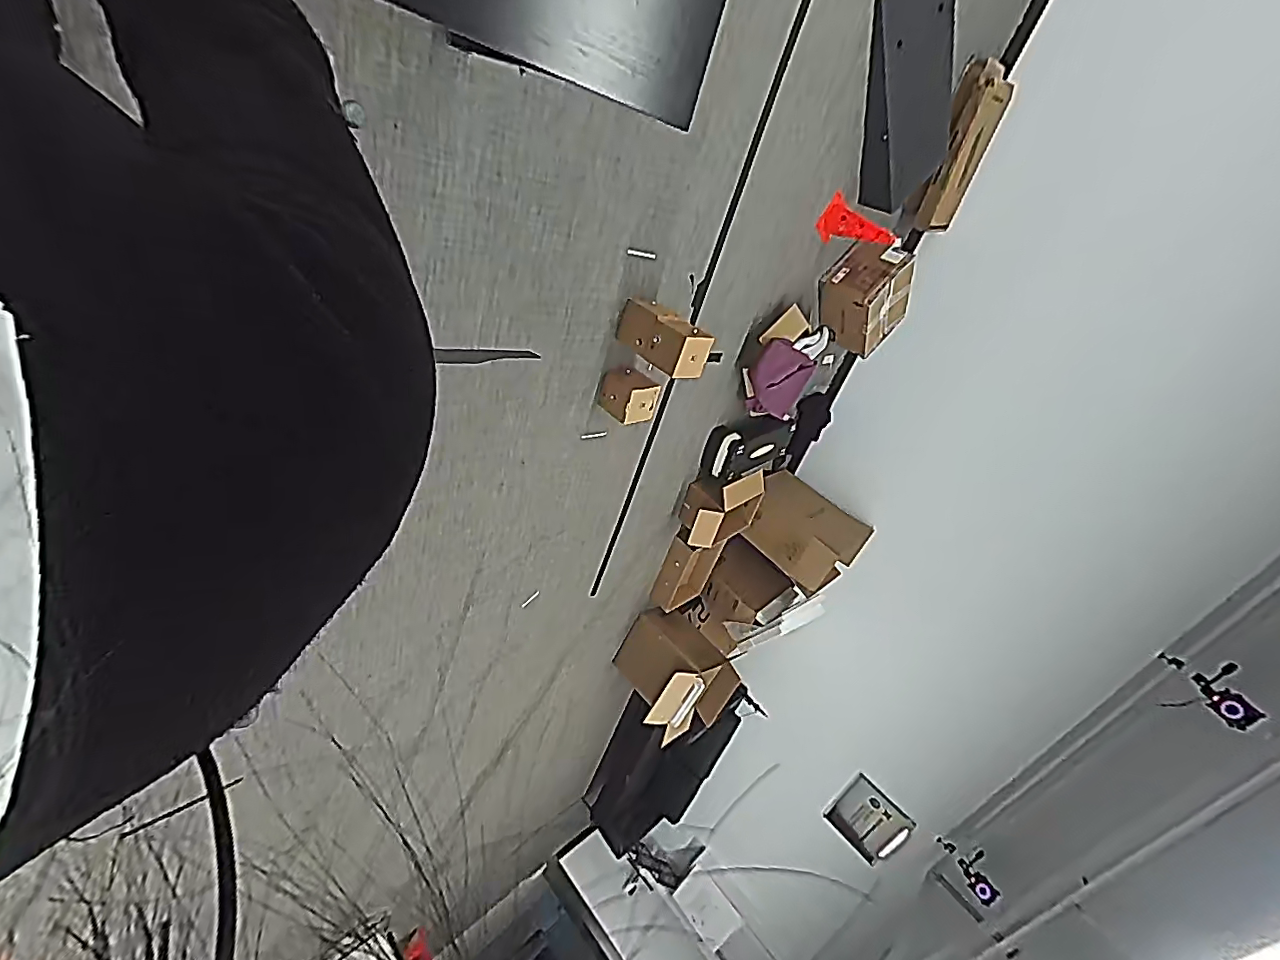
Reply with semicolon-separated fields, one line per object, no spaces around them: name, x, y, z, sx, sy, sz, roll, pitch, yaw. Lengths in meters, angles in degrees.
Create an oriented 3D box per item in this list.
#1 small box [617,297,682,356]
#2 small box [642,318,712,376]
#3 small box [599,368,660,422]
small box;0.033;-0.608;2.158;0.168;0.176;0.179;-13;133;-46
small box;0.141;-0.513;2.083;0.179;0.176;0.168;-13;132;-44
small box;-0.050;-0.369;2.315;0.179;0.176;0.168;-17;136;-42
